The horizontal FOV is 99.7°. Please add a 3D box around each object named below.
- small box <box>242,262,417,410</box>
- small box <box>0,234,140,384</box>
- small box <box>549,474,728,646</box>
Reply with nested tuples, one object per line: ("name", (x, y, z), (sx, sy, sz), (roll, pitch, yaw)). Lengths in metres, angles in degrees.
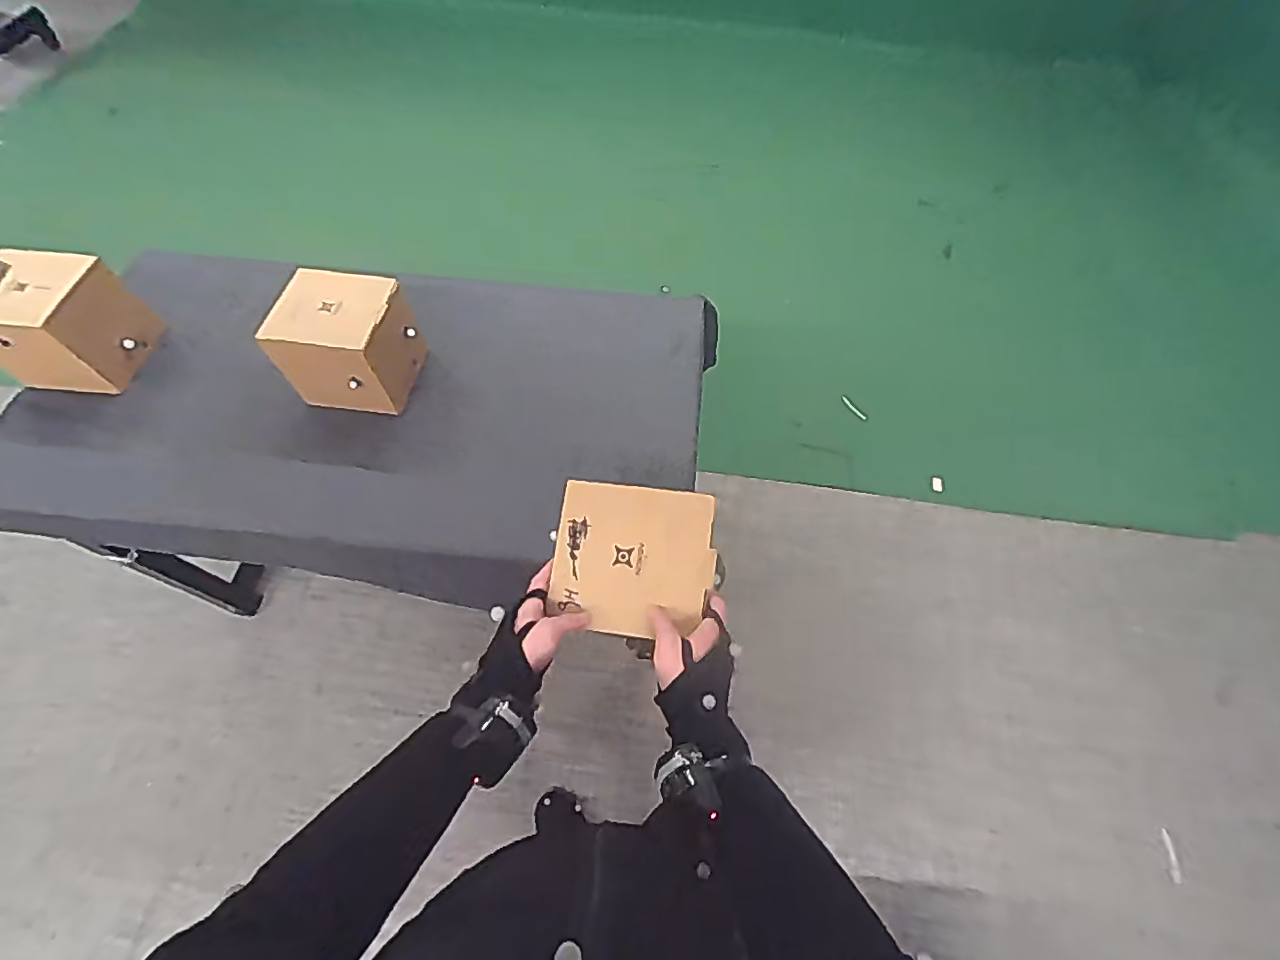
("small box", (-0.499, -0.234, 0.906), (0.179, 0.176, 0.168), (6, 58, 1))
("small box", (-1.001, -0.276, 0.886), (0.179, 0.176, 0.168), (5, 59, -3))
("small box", (0.002, 0.104, 0.660), (0.179, 0.176, 0.168), (7, 74, 4))
